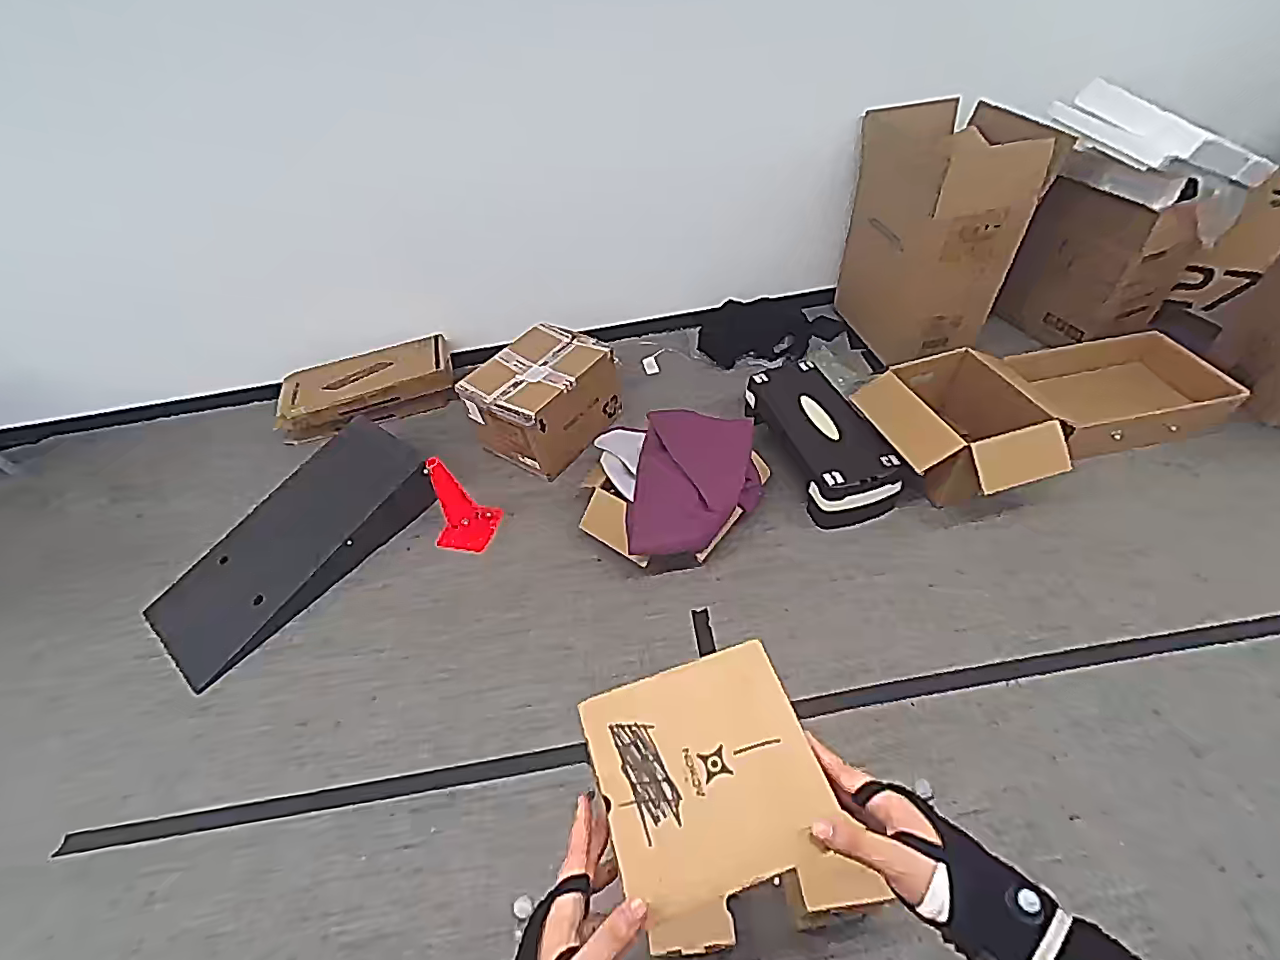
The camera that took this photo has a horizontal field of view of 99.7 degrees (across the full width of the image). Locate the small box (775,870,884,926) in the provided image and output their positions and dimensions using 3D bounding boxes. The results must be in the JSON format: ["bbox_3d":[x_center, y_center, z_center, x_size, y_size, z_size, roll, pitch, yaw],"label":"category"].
[{"bbox_3d":[0.379,0.819,1.140,0.179,0.176,0.168,-10,47,-1],"label":"small box"}]

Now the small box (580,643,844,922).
[{"bbox_3d":[0.058,0.283,0.506,0.179,0.176,0.168,-17,54,-6],"label":"small box"}]

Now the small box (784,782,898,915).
[{"bbox_3d":[0.356,0.702,1.029,0.168,0.176,0.179,-9,48,1],"label":"small box"}]

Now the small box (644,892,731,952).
[{"bbox_3d":[0.095,0.868,1.135,0.168,0.176,0.179,-9,48,2],"label":"small box"}]
